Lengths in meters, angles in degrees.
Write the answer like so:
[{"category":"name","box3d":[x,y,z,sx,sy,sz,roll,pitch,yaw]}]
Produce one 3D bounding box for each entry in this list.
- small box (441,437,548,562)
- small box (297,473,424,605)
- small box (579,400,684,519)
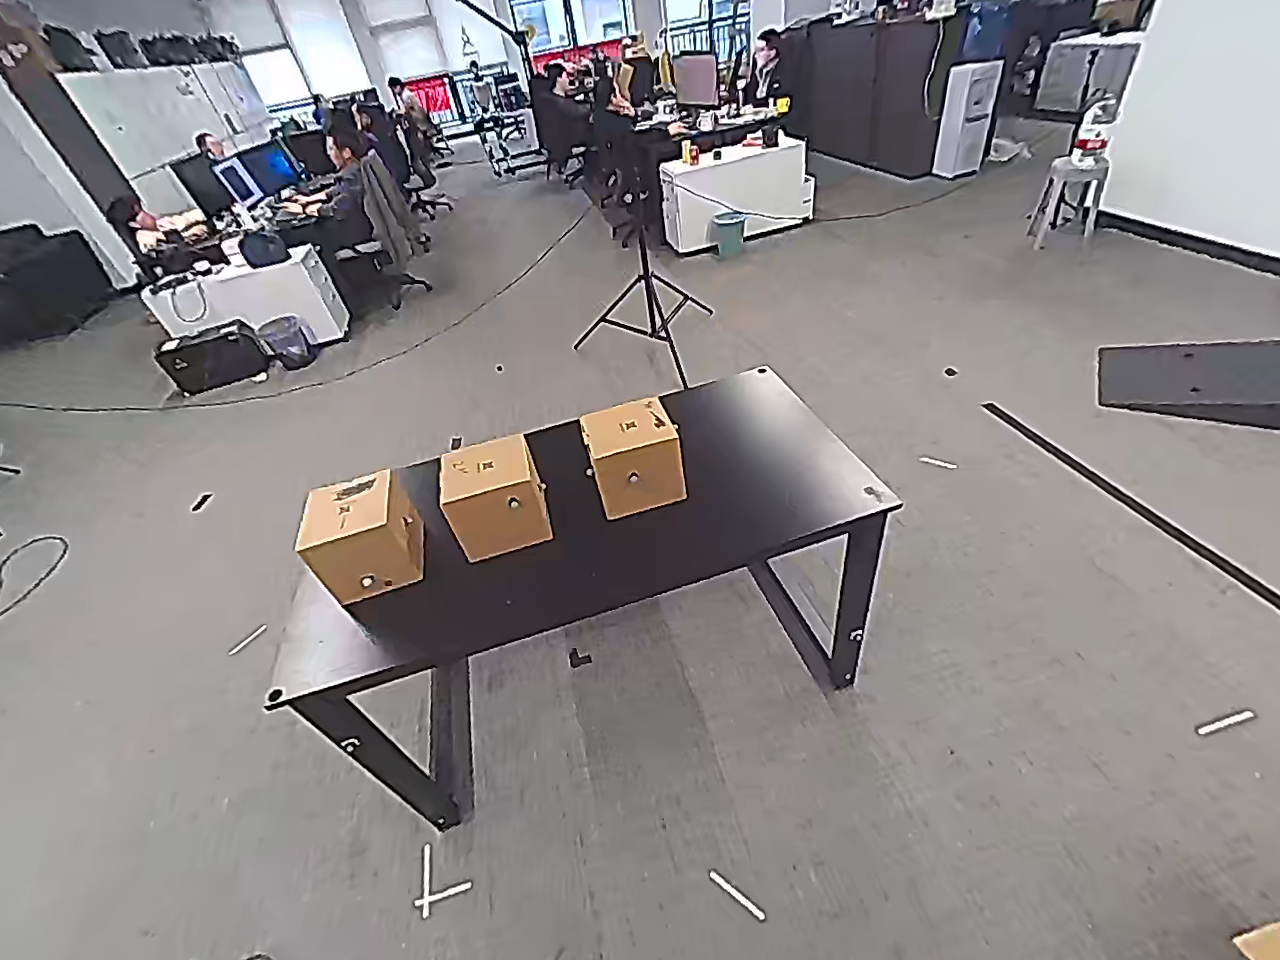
[{"category":"small box","box3d":[-0.297,0.041,1.122,0.179,0.176,0.168,-17,40,-7]},{"category":"small box","box3d":[-0.550,0.119,1.093,0.168,0.176,0.179,-18,42,-7]},{"category":"small box","box3d":[-0.017,-0.041,1.156,0.179,0.176,0.168,-16,41,-4]}]
